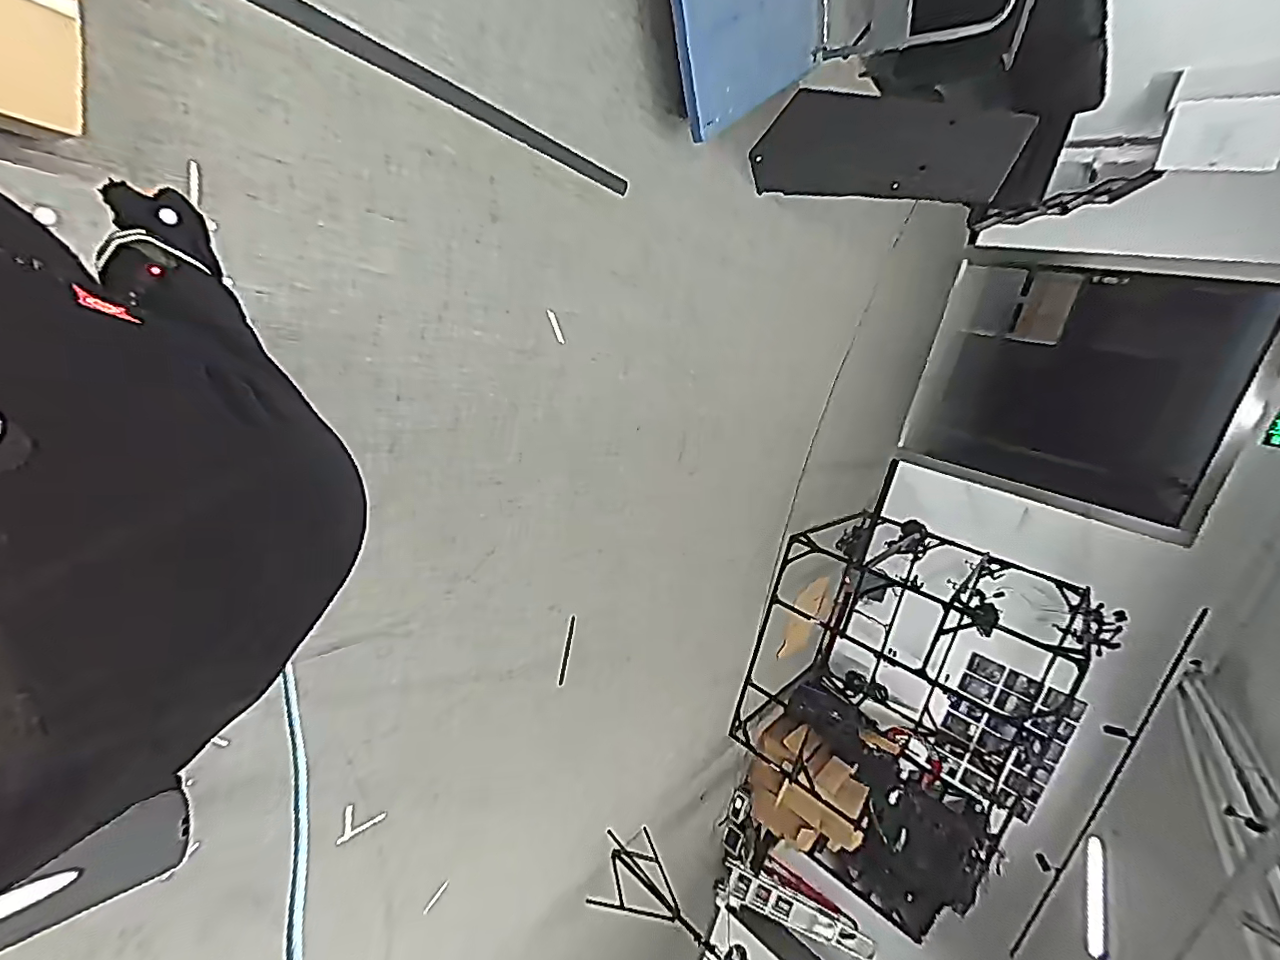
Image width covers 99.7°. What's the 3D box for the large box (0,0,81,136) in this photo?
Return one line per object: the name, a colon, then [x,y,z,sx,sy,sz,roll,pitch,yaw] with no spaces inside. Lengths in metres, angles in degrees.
large box: [-1.009,-0.677,0.665,0.408,0.320,0.320,-6,115,-52]
